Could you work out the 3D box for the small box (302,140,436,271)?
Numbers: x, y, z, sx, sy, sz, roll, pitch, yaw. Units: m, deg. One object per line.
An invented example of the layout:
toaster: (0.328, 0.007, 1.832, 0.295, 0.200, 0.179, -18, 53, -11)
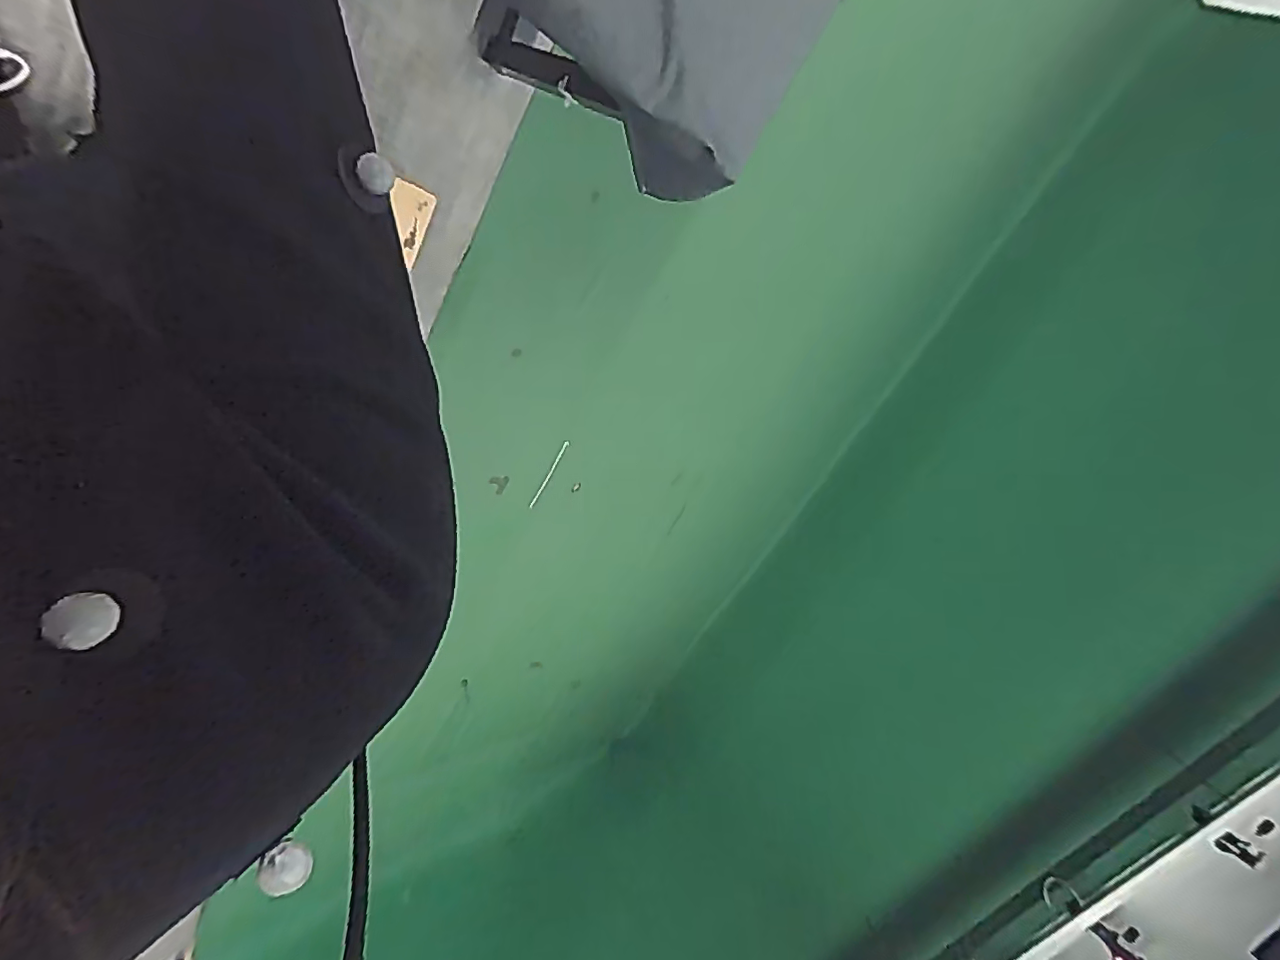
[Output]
small box: (-0.553, -0.556, 1.094, 0.179, 0.176, 0.168, 5, 121, -51)
